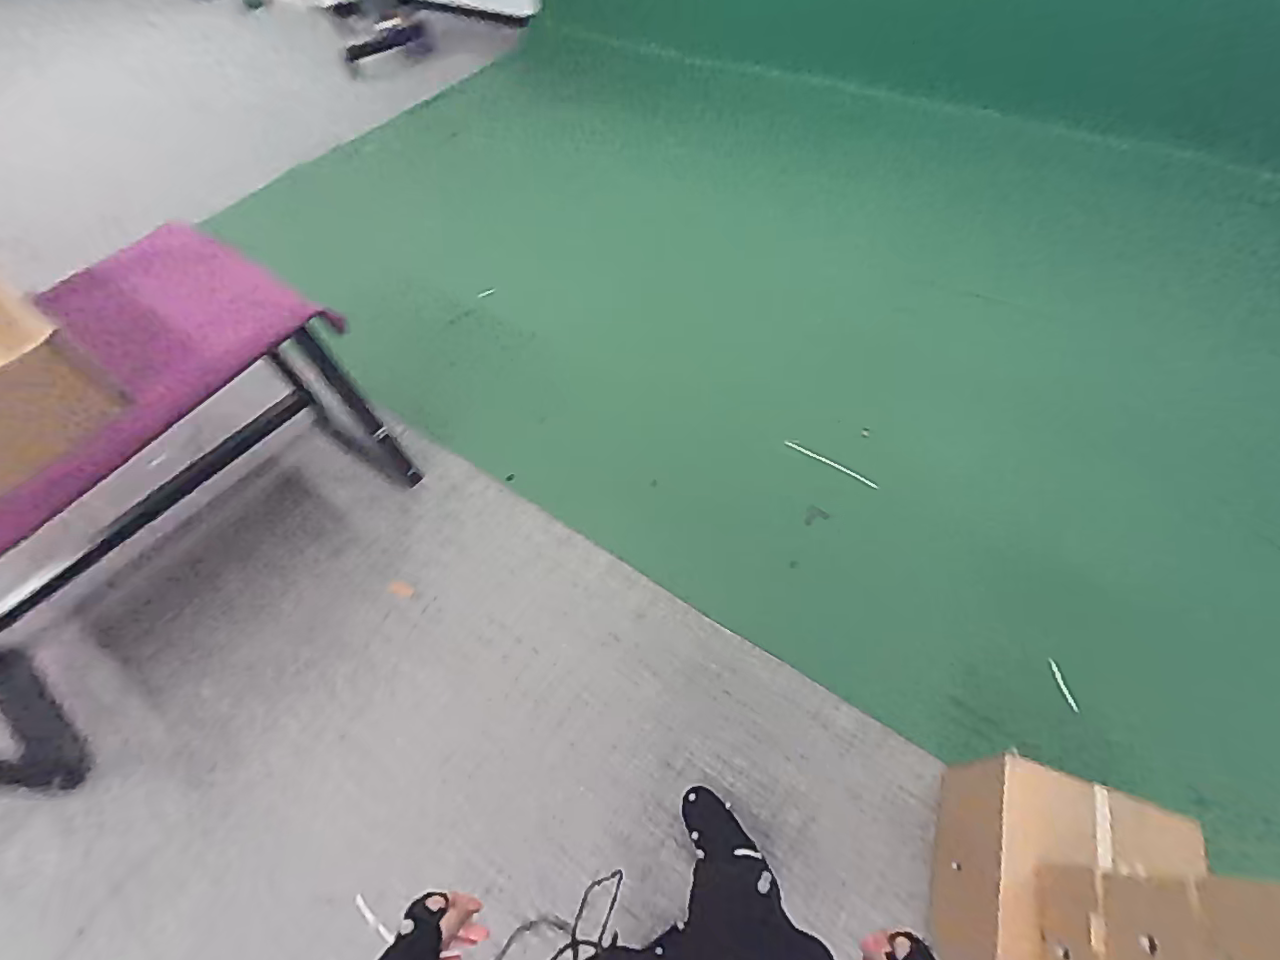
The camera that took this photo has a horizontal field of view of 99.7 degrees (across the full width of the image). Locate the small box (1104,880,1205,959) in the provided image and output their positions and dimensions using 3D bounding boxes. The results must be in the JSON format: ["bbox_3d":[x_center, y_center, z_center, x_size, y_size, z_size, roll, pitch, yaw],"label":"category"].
[{"bbox_3d":[0.697,0.612,0.642,0.168,0.176,0.179,16,59,15],"label":"small box"}]

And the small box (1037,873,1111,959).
[{"bbox_3d":[0.708,0.700,0.780,0.179,0.176,0.168,17,60,16],"label":"small box"}]

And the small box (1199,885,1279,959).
[{"bbox_3d":[0.689,0.519,0.506,0.168,0.176,0.179,17,61,15],"label":"small box"}]

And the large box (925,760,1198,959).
[{"bbox_3d":[0.753,0.807,0.999,0.320,0.320,0.408,17,58,14],"label":"large box"}]
